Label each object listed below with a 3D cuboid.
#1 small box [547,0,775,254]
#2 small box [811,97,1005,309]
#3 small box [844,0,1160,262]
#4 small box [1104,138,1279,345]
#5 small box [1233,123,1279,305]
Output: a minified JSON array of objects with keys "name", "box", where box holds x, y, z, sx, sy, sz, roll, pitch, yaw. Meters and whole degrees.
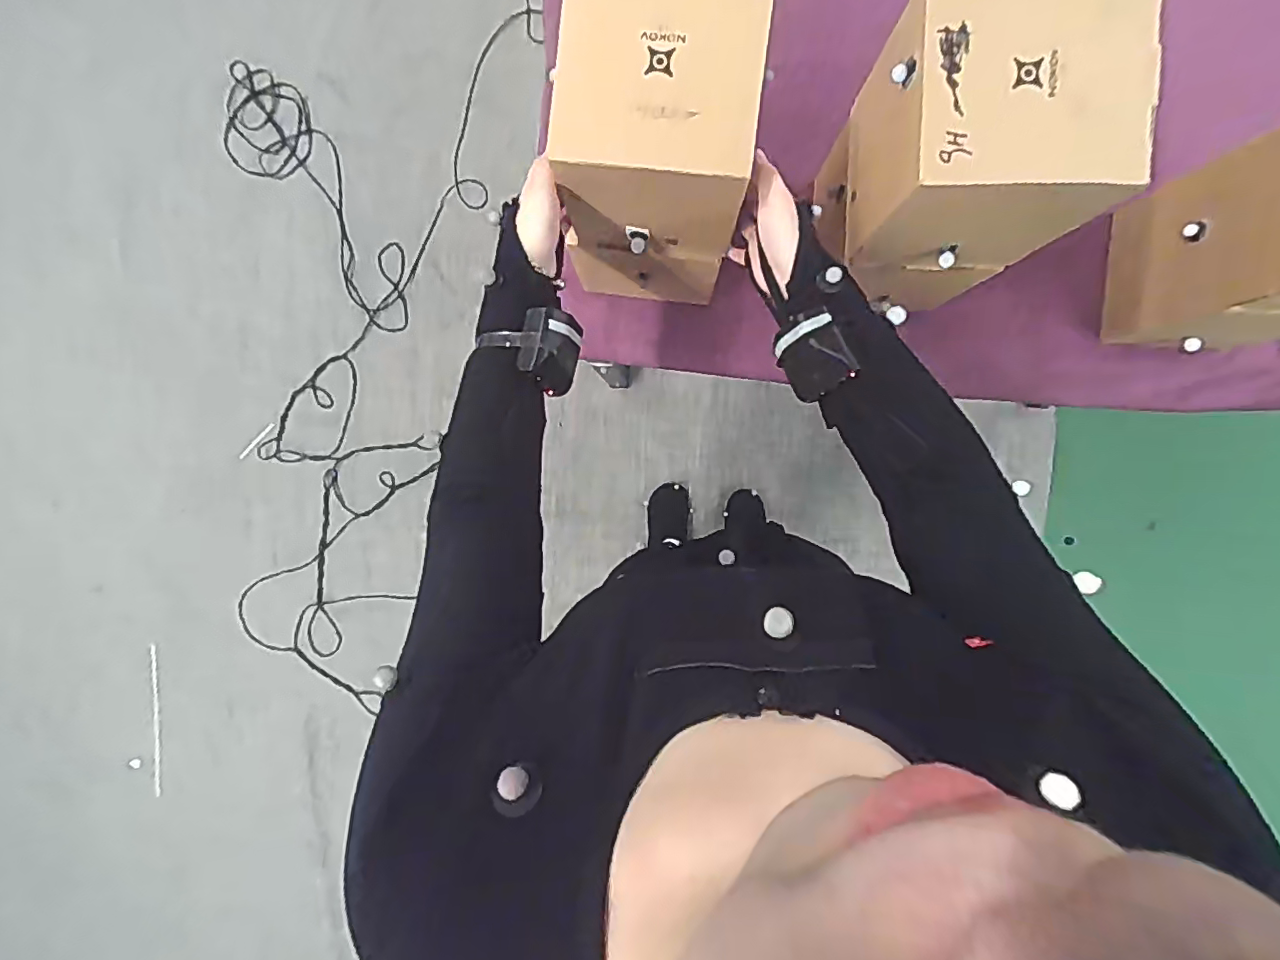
[{"name":"small box","box":[0.020,-0.336,0.501,0.168,0.176,0.179,7,93,3]},{"name":"small box","box":[0.313,-0.321,0.654,0.168,0.176,0.179,2,93,3]},{"name":"small box","box":[0.305,-0.311,0.490,0.179,0.176,0.168,1,91,2]},{"name":"small box","box":[0.704,-0.268,0.642,0.168,0.176,0.179,3,94,3]},{"name":"small box","box":[0.699,-0.264,0.480,0.168,0.176,0.179,3,94,2]}]
